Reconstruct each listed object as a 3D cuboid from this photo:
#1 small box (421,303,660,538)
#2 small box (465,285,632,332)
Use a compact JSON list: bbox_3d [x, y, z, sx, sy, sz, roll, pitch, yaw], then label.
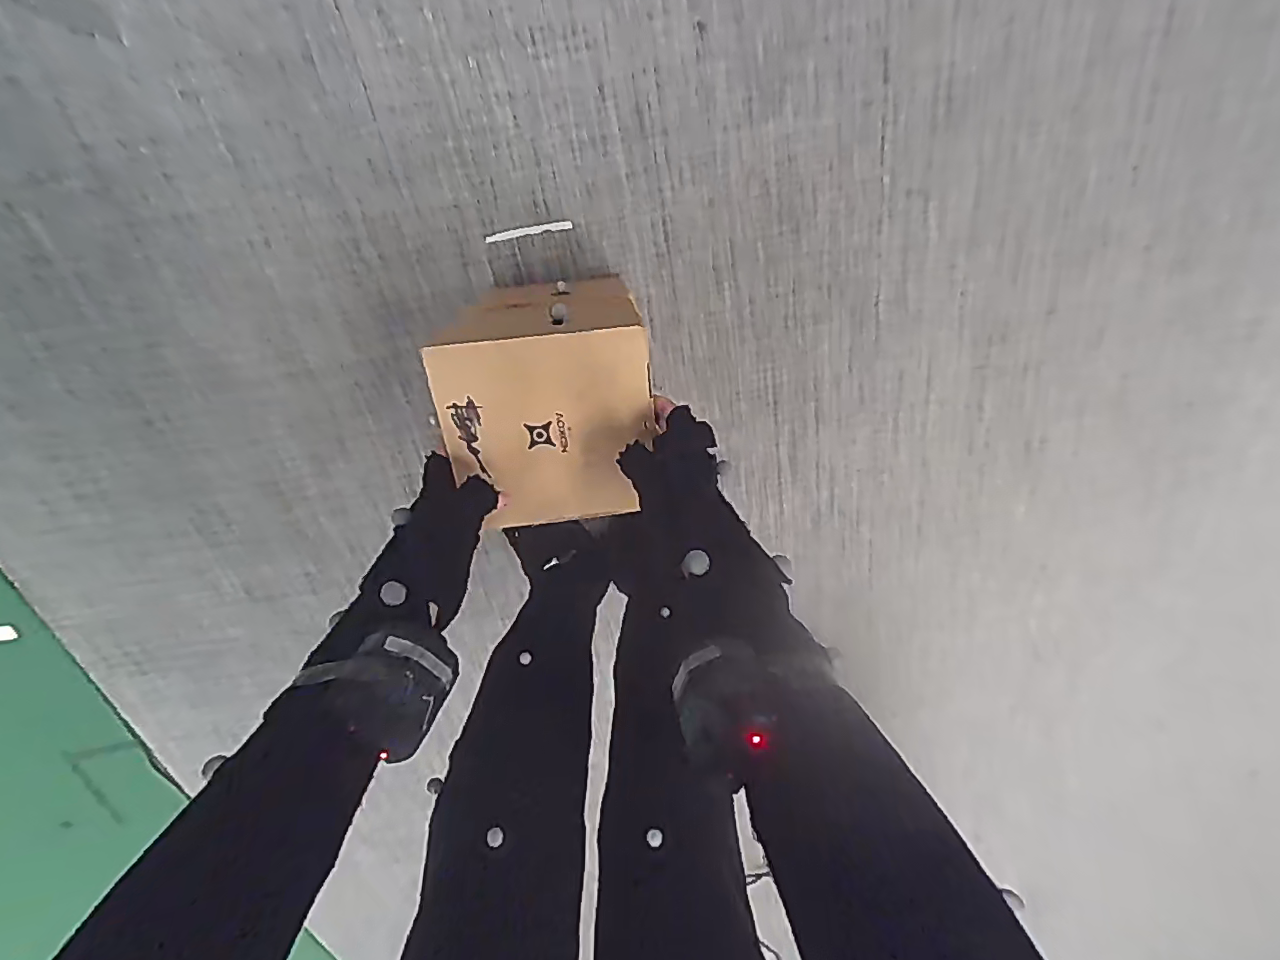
[{"bbox_3d":[-0.083,-0.068,0.528,0.179,0.176,0.168,-8,118,0],"label":"small box"},{"bbox_3d":[-0.098,-0.142,0.672,0.179,0.176,0.168,-6,116,-2],"label":"small box"}]
